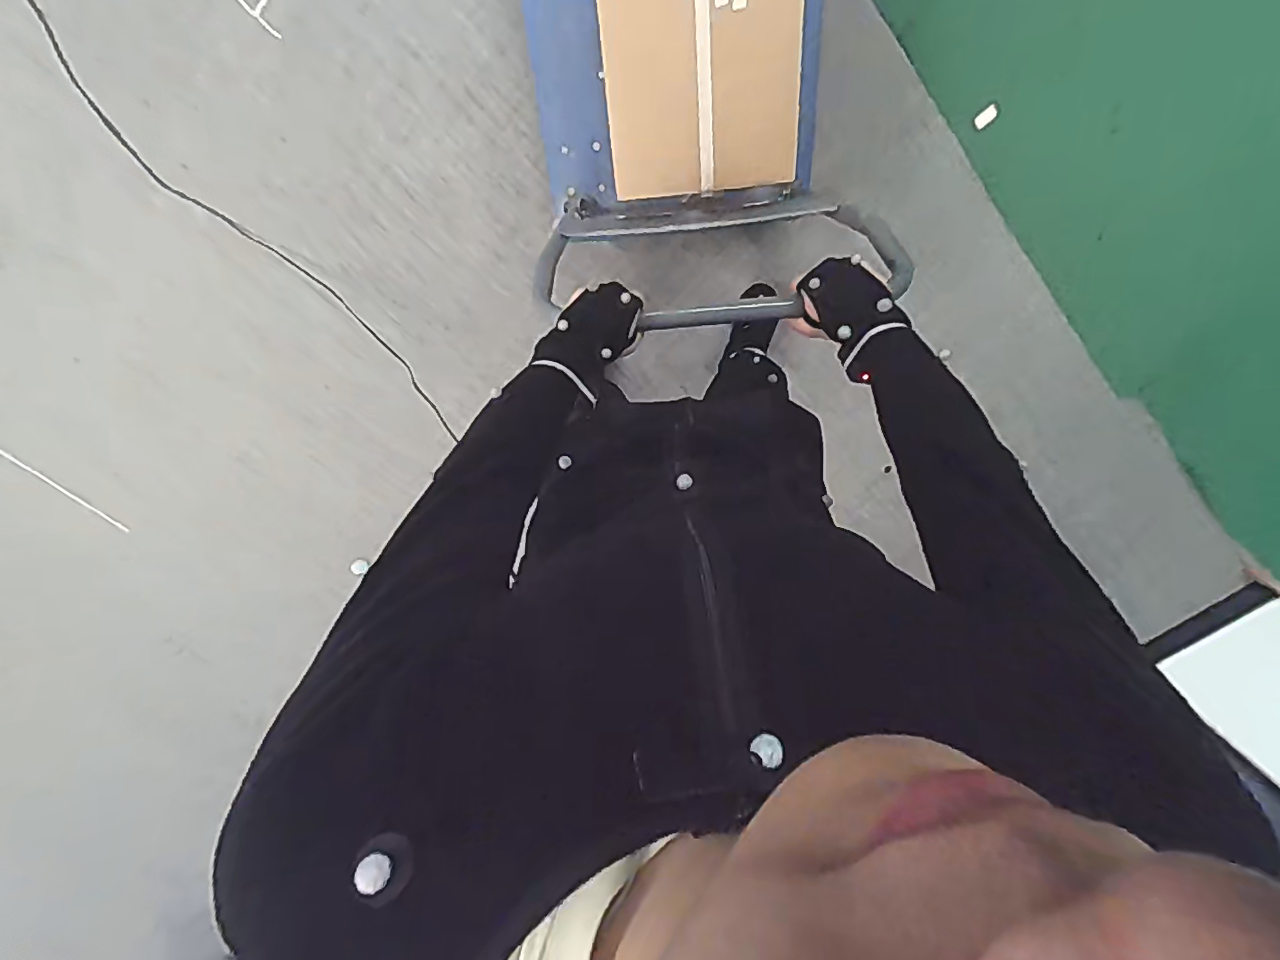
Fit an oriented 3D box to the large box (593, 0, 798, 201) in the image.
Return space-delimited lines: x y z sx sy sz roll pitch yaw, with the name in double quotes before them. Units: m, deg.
"large box" 0.093 -0.751 0.975 0.320 0.320 0.408 -5 120 2
